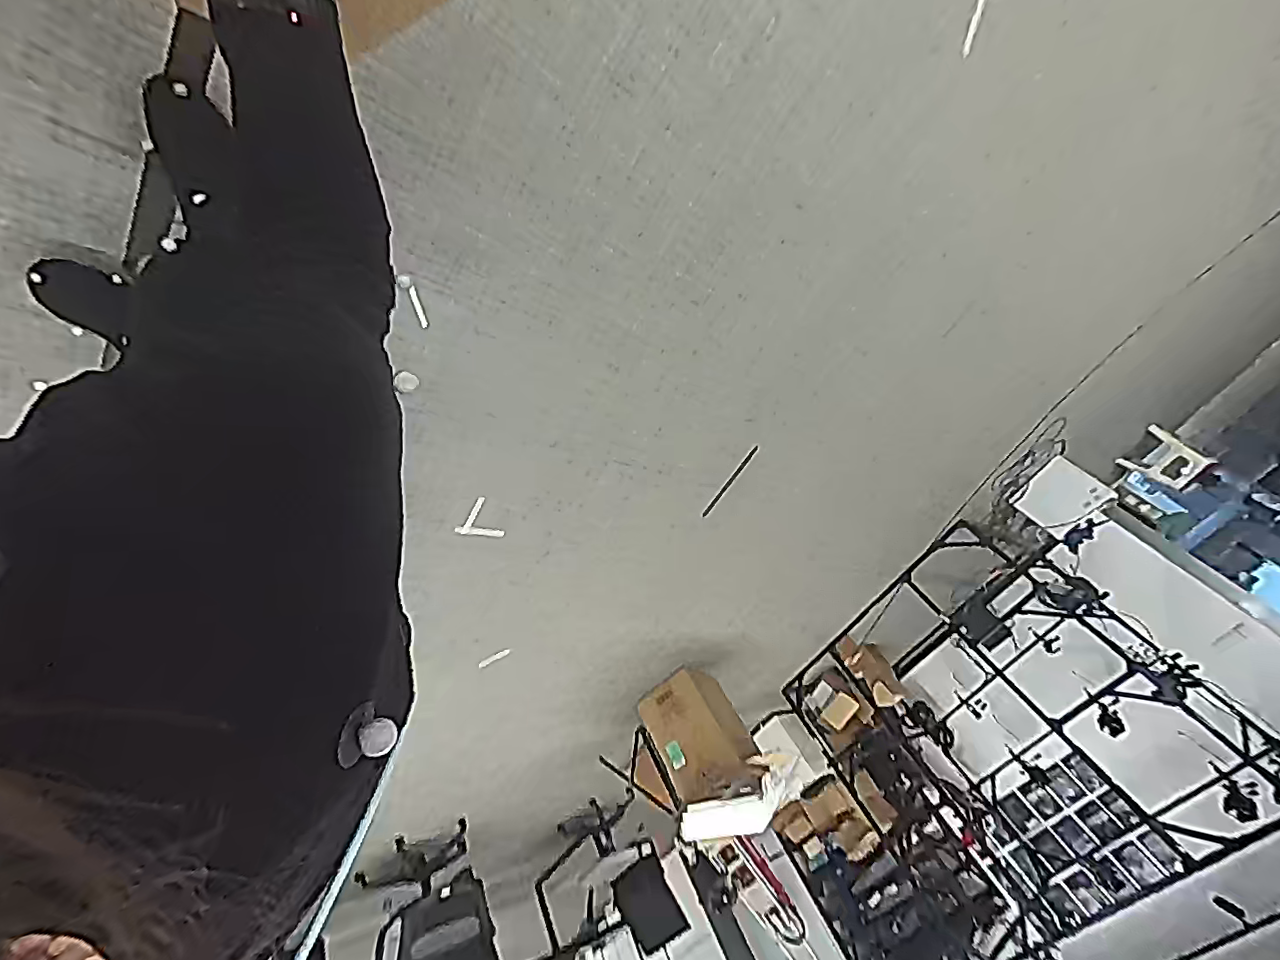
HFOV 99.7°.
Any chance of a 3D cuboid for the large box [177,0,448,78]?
[{"bbox_3d":[-0.328,-0.636,0.412,0.320,0.320,0.408,-3,102,-52],"label":"large box"}]
